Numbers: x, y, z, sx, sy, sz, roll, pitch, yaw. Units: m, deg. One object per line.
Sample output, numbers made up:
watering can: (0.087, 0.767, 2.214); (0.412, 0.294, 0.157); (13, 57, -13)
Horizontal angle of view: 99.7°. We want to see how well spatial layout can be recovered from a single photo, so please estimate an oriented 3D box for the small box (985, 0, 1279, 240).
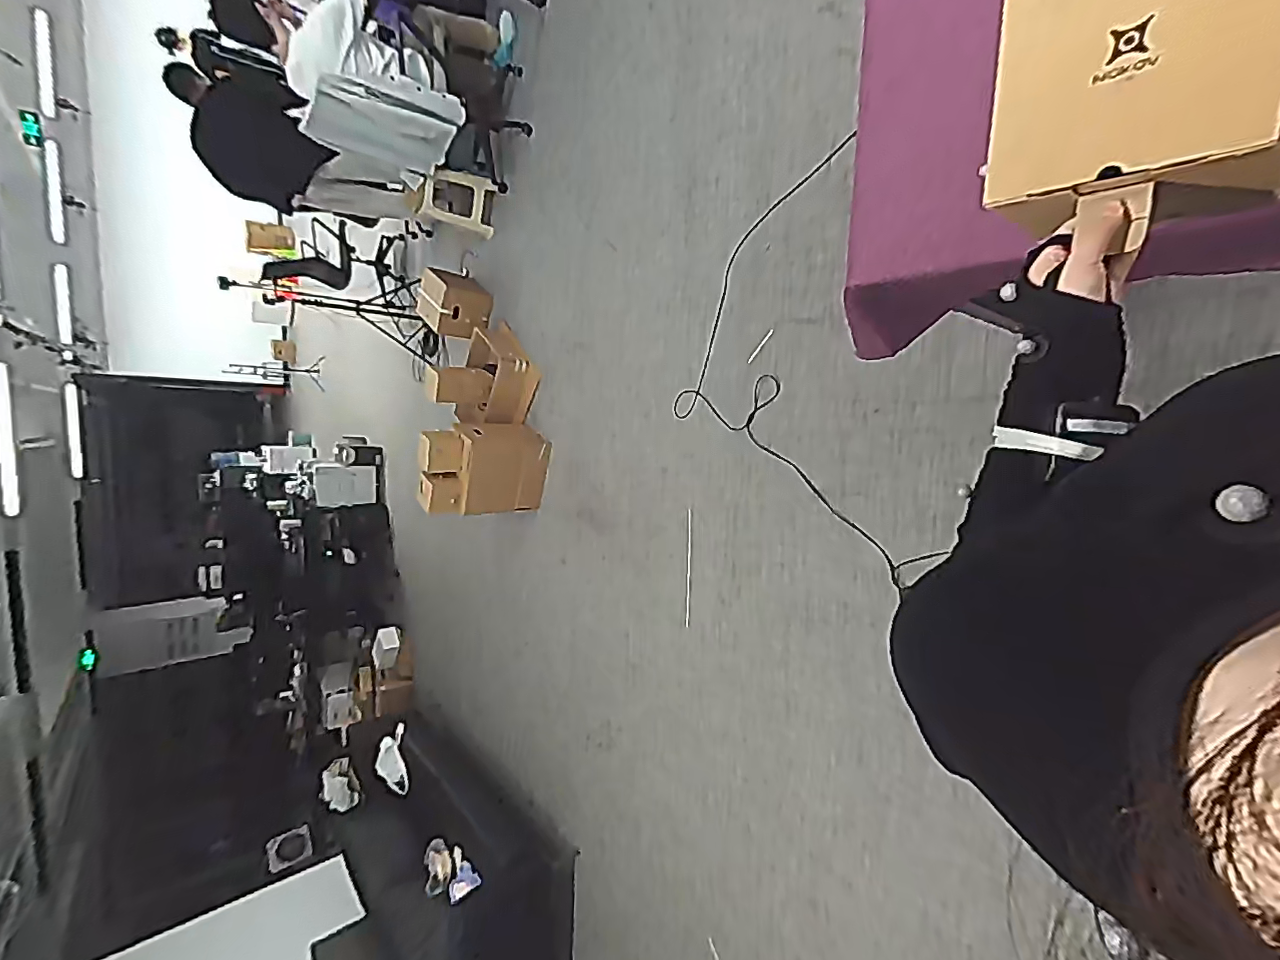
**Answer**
small box: (0.417, -0.321, 0.452); (0.168, 0.176, 0.179); (11, 105, 48)
